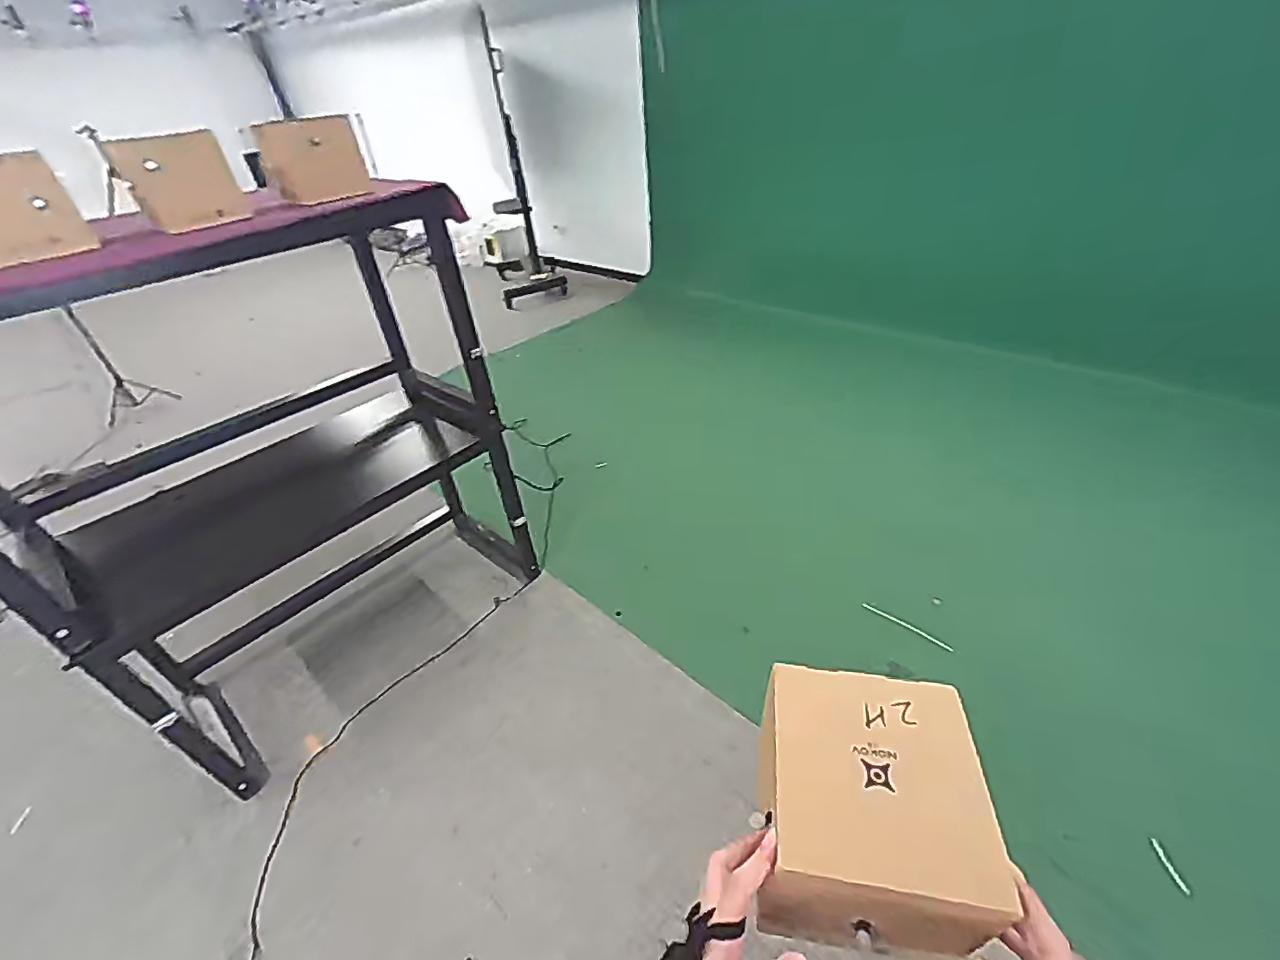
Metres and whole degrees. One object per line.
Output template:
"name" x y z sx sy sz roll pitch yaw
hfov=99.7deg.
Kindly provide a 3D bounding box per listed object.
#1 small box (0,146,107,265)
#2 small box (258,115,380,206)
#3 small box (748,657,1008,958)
"small box" -1.142 -0.507 1.001 0.179 0.176 0.168 26 46 37
"small box" -0.773 -0.775 1.315 0.168 0.176 0.179 25 46 36
"small box" 0.190 0.293 0.492 0.168 0.176 0.179 5 38 9
